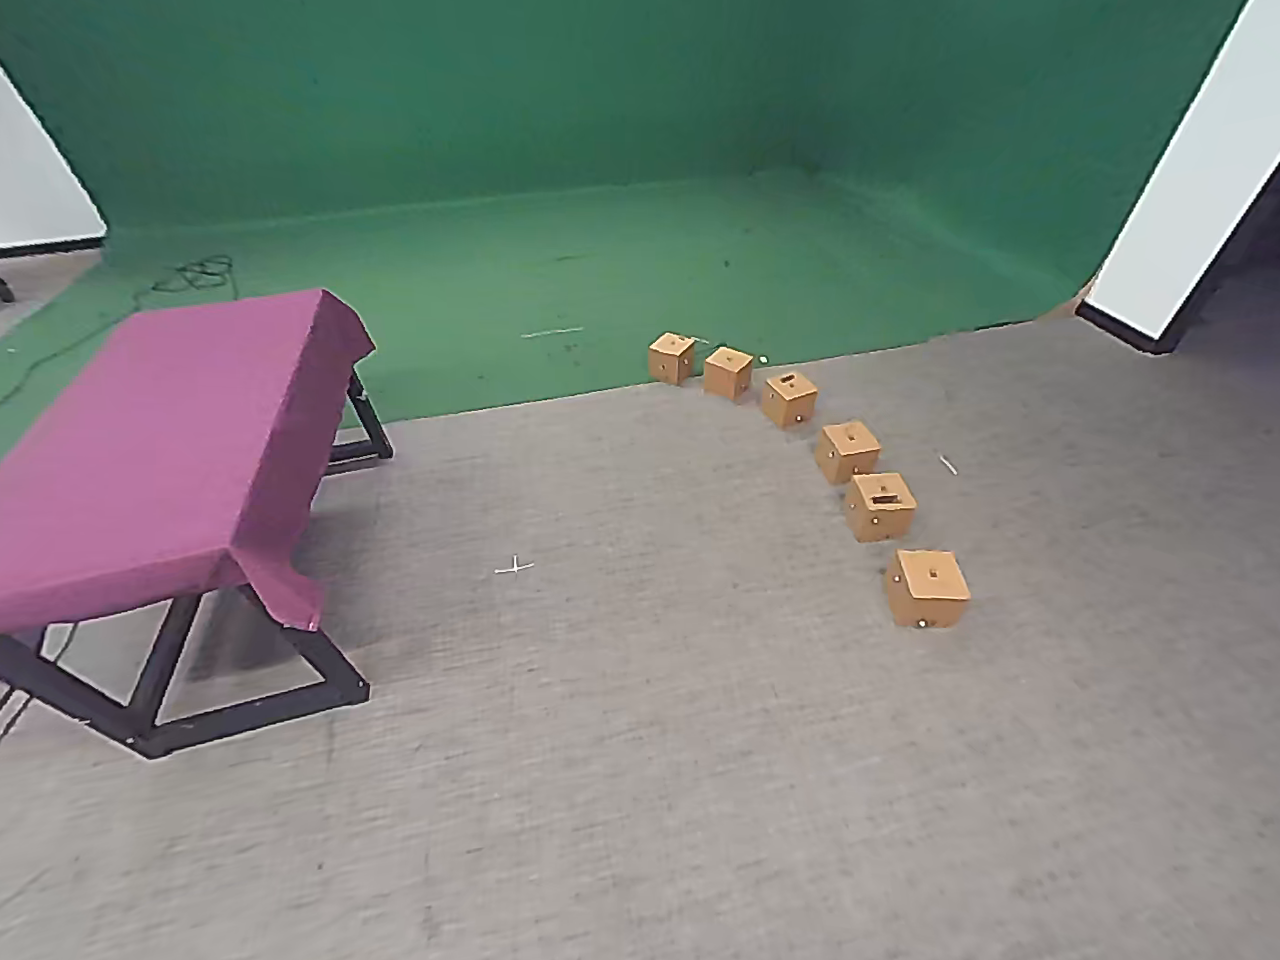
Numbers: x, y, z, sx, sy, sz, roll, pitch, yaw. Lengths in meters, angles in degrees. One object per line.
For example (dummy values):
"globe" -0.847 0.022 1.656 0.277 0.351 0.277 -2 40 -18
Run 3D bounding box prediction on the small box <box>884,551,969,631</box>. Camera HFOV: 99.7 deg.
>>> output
"small box" 0.873 0.342 1.668 0.168 0.176 0.179 1 45 5

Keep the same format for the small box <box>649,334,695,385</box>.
"small box" 0.163 -0.597 2.688 0.168 0.176 0.179 23 50 24

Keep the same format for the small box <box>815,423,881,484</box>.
"small box" 0.812 -0.099 2.128 0.168 0.176 0.179 -9 44 -7

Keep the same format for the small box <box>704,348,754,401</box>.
"small box" 0.420 -0.498 2.575 0.179 0.176 0.168 27 51 27
